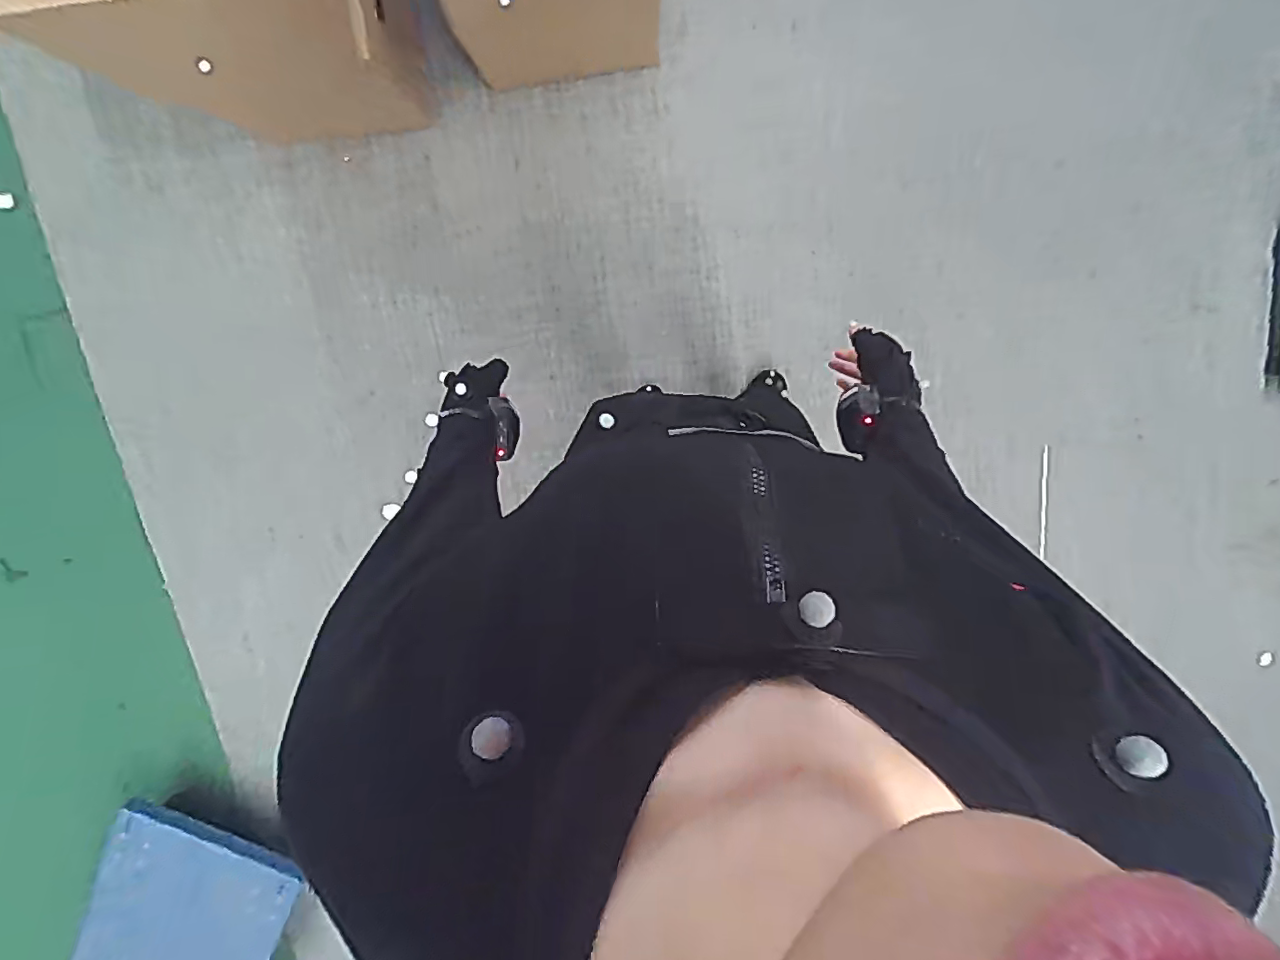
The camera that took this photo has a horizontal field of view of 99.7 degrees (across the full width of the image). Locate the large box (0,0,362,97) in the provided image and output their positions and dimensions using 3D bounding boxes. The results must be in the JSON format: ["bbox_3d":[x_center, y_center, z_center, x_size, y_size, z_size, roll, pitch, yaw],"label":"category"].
[{"bbox_3d":[-0.724,-0.837,0.825,0.408,0.320,0.320,-3,106,4],"label":"large box"}]
